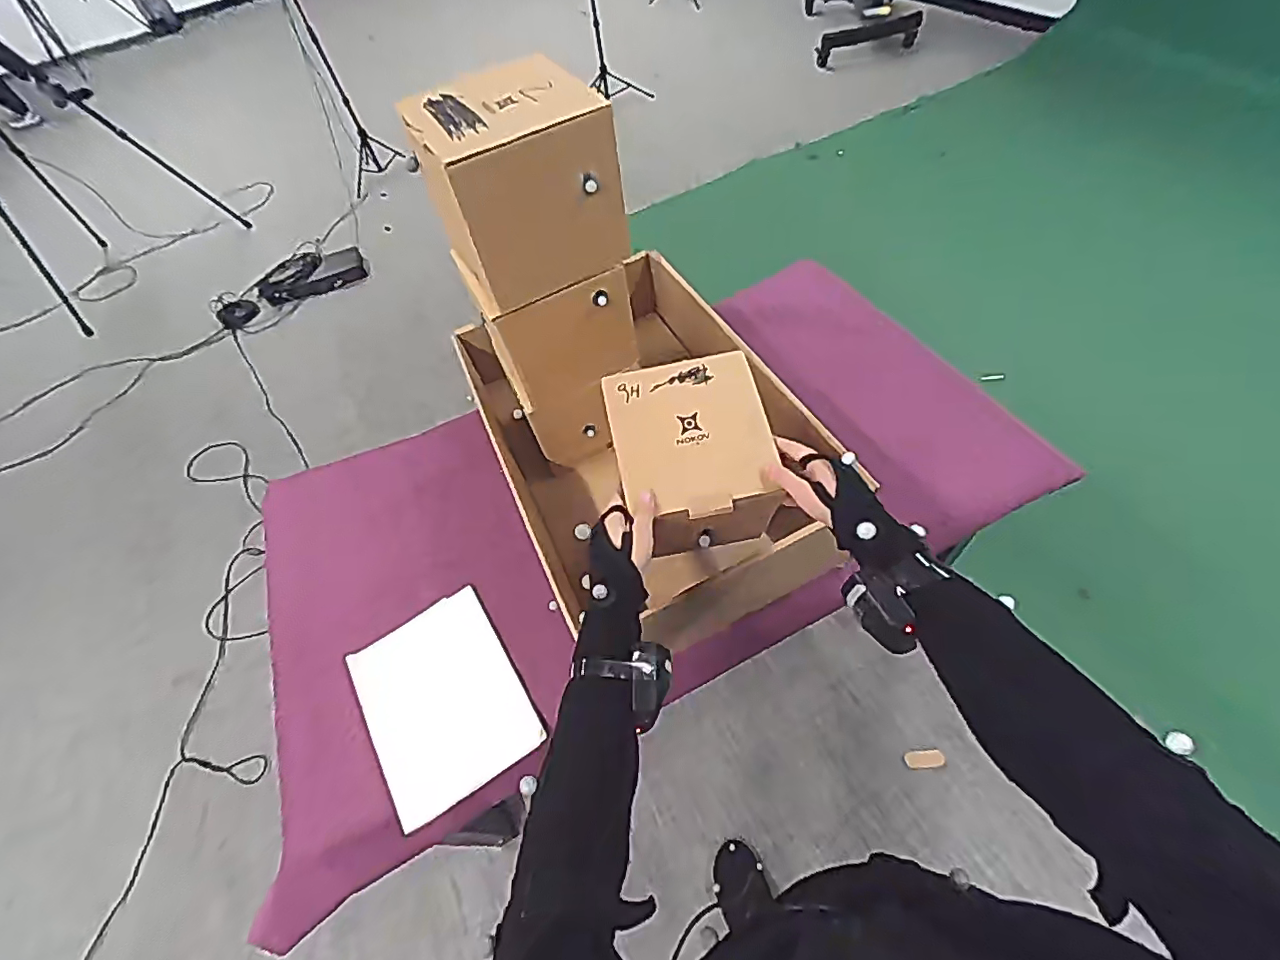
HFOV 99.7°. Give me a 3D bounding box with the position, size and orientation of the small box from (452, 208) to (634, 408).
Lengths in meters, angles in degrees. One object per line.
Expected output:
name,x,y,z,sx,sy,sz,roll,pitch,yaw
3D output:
small box,-0.124,-0.230,0.742,0.179,0.176,0.168,-27,57,-10

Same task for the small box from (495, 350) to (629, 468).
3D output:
small box,-0.111,-0.141,0.877,0.168,0.176,0.179,-25,57,-9

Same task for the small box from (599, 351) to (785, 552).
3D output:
small box,0.054,-0.021,0.640,0.168,0.176,0.179,-12,69,-2
